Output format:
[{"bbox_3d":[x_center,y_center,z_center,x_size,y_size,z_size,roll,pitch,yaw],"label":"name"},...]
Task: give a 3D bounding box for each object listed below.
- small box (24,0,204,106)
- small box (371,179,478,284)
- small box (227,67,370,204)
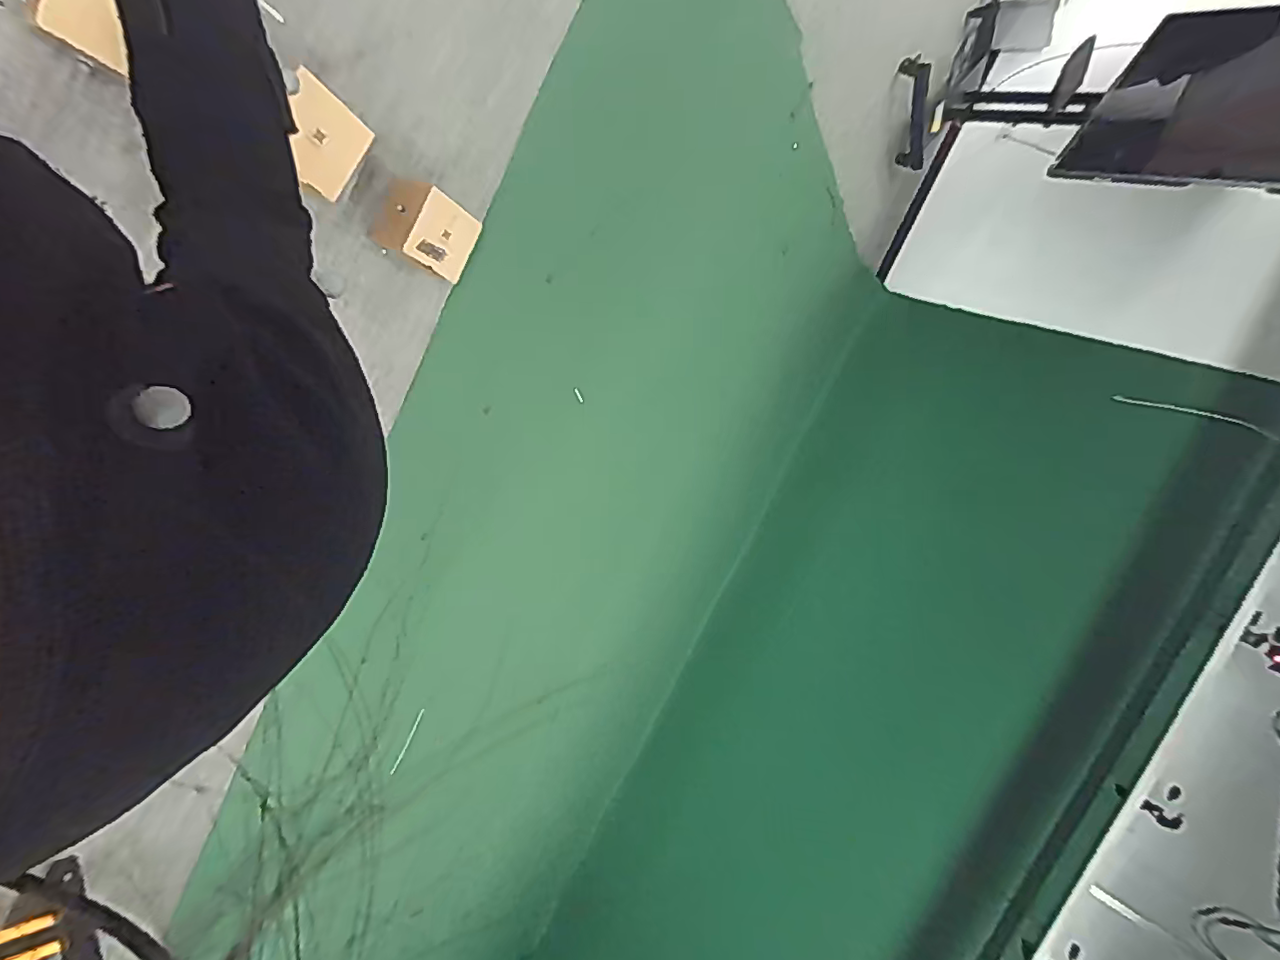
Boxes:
[{"bbox_3d":[-0.858,-0.754,0.880,0.168,0.176,0.179,15,103,-56],"label":"small box"},{"bbox_3d":[-0.559,-0.640,1.392,0.168,0.176,0.179,22,95,-58],"label":"small box"},{"bbox_3d":[-0.710,-0.714,1.121,0.179,0.176,0.168,-60,148,-1],"label":"small box"}]
